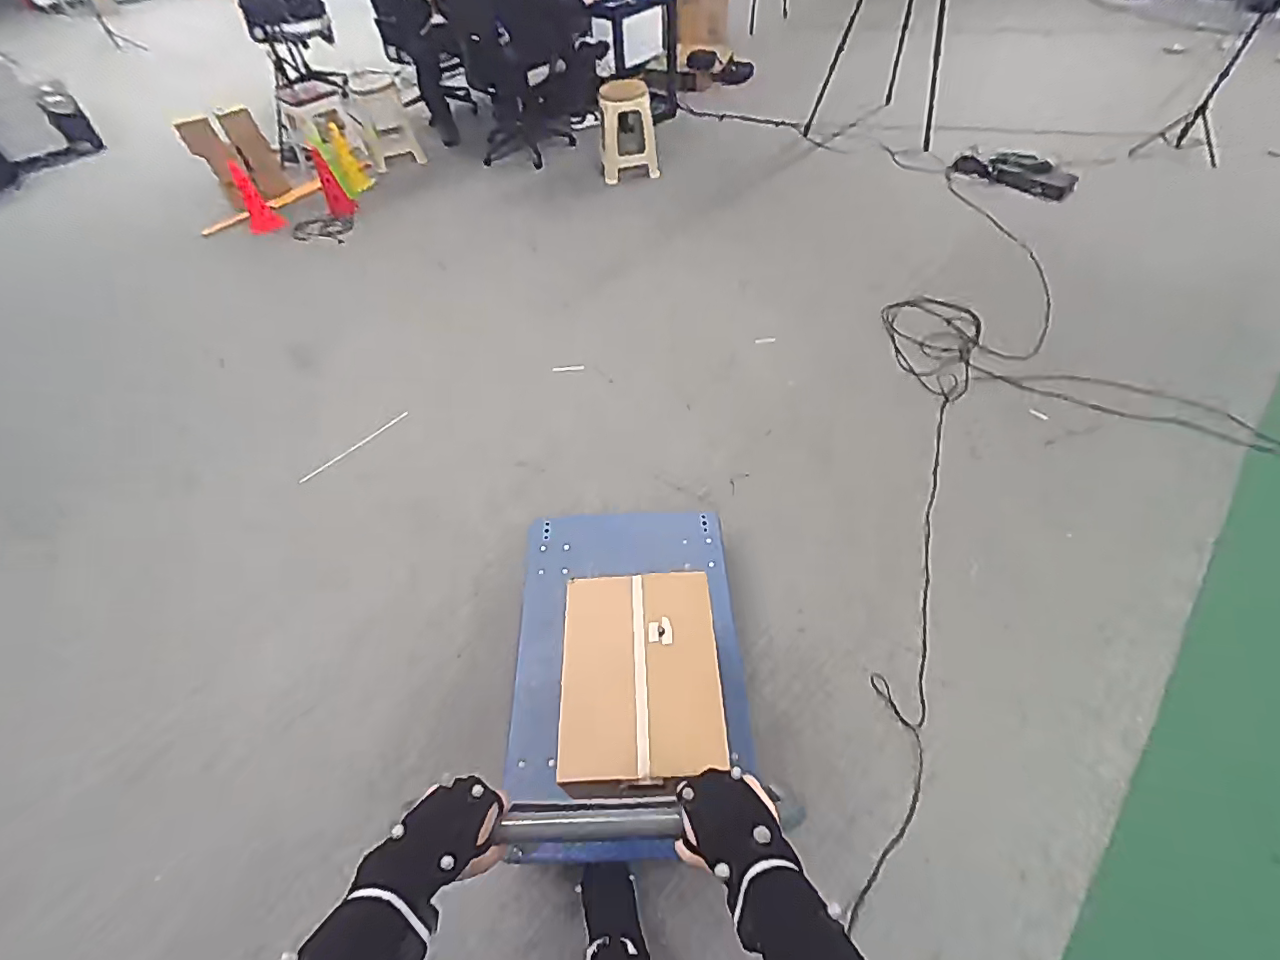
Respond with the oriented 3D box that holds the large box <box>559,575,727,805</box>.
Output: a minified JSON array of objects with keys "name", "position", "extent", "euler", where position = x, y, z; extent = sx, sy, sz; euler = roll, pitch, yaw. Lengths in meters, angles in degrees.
[{"name":"large box","position":[0.007,0.473,1.218],"extent":[0.320,0.320,0.408],"euler":[-3,51,1]}]
